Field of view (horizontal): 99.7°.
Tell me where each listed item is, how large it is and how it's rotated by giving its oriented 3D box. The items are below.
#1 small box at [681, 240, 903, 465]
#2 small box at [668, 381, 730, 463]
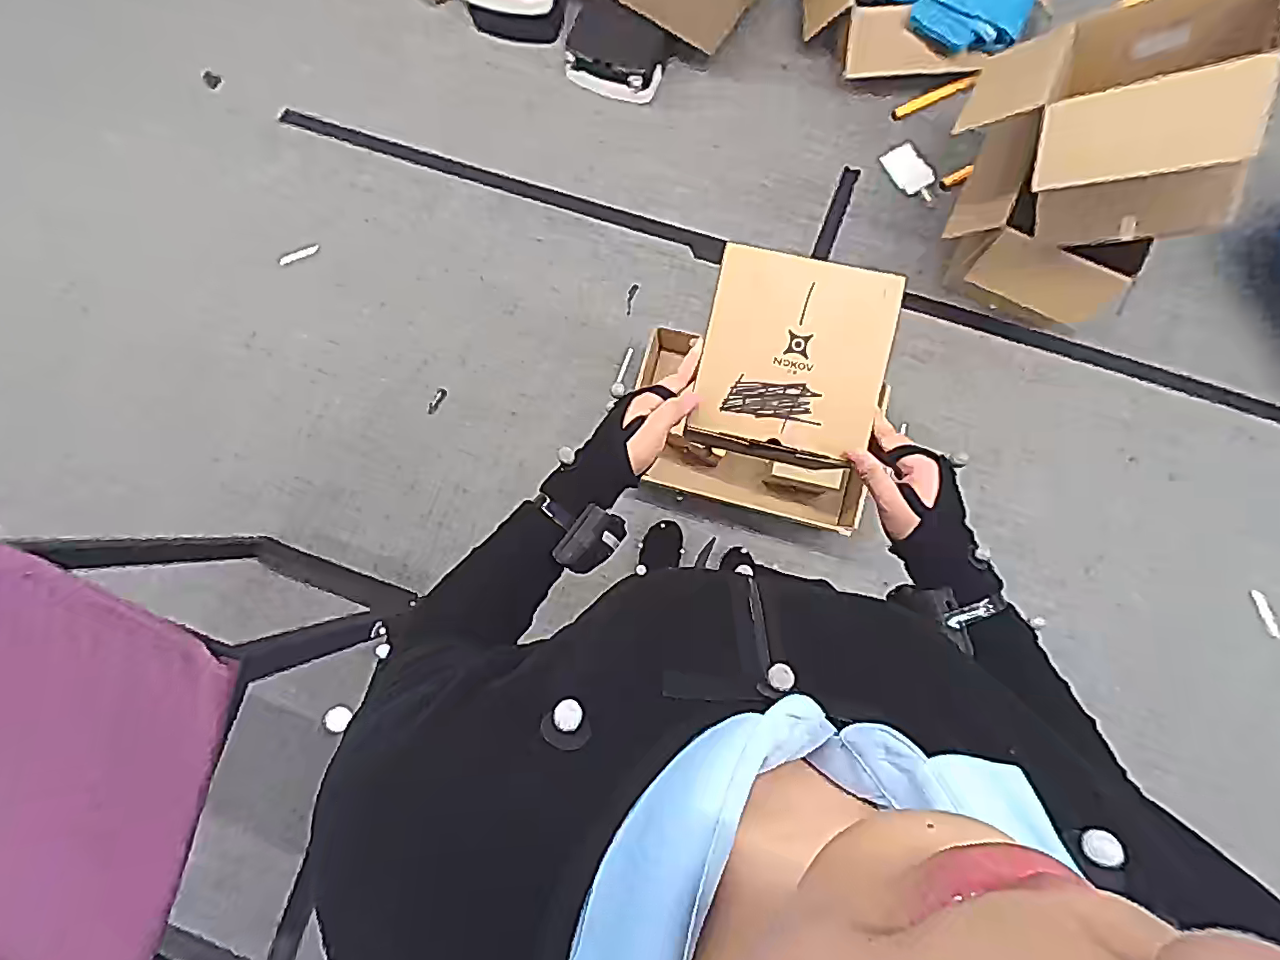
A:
[{"bbox_3d":[0.141,-0.115,0.564,0.168,0.176,0.179,12,90,3],"label":"small box"},{"bbox_3d":[0.178,-0.161,1.412,0.168,0.176,0.179,26,86,5],"label":"small box"}]
